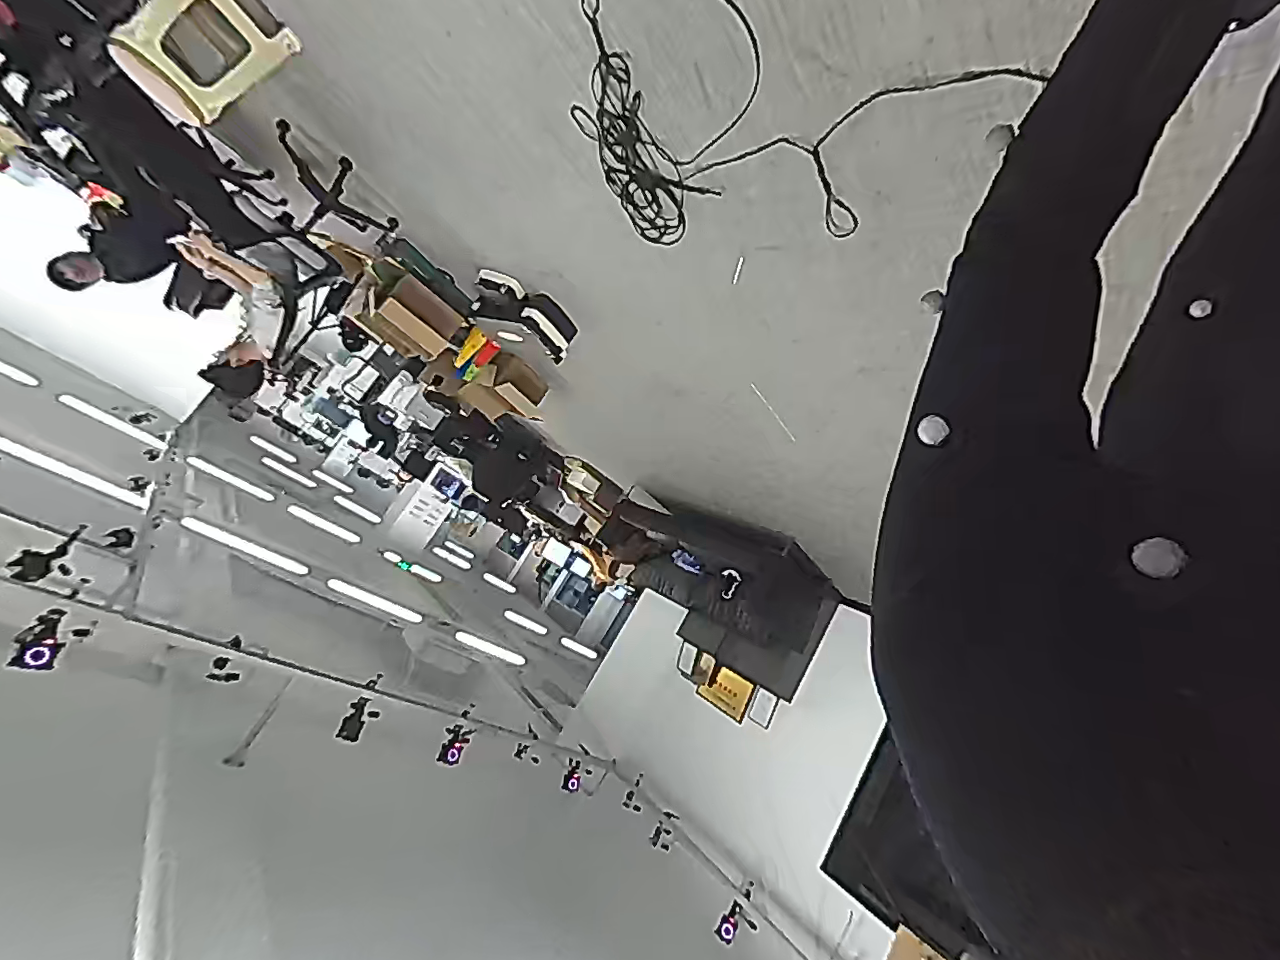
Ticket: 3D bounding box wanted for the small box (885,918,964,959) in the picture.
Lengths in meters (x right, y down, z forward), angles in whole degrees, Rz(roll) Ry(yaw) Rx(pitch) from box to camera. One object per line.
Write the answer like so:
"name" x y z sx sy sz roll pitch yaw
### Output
"small box" 0.843 1.445 1.601 0.168 0.176 0.179 19 162 45
